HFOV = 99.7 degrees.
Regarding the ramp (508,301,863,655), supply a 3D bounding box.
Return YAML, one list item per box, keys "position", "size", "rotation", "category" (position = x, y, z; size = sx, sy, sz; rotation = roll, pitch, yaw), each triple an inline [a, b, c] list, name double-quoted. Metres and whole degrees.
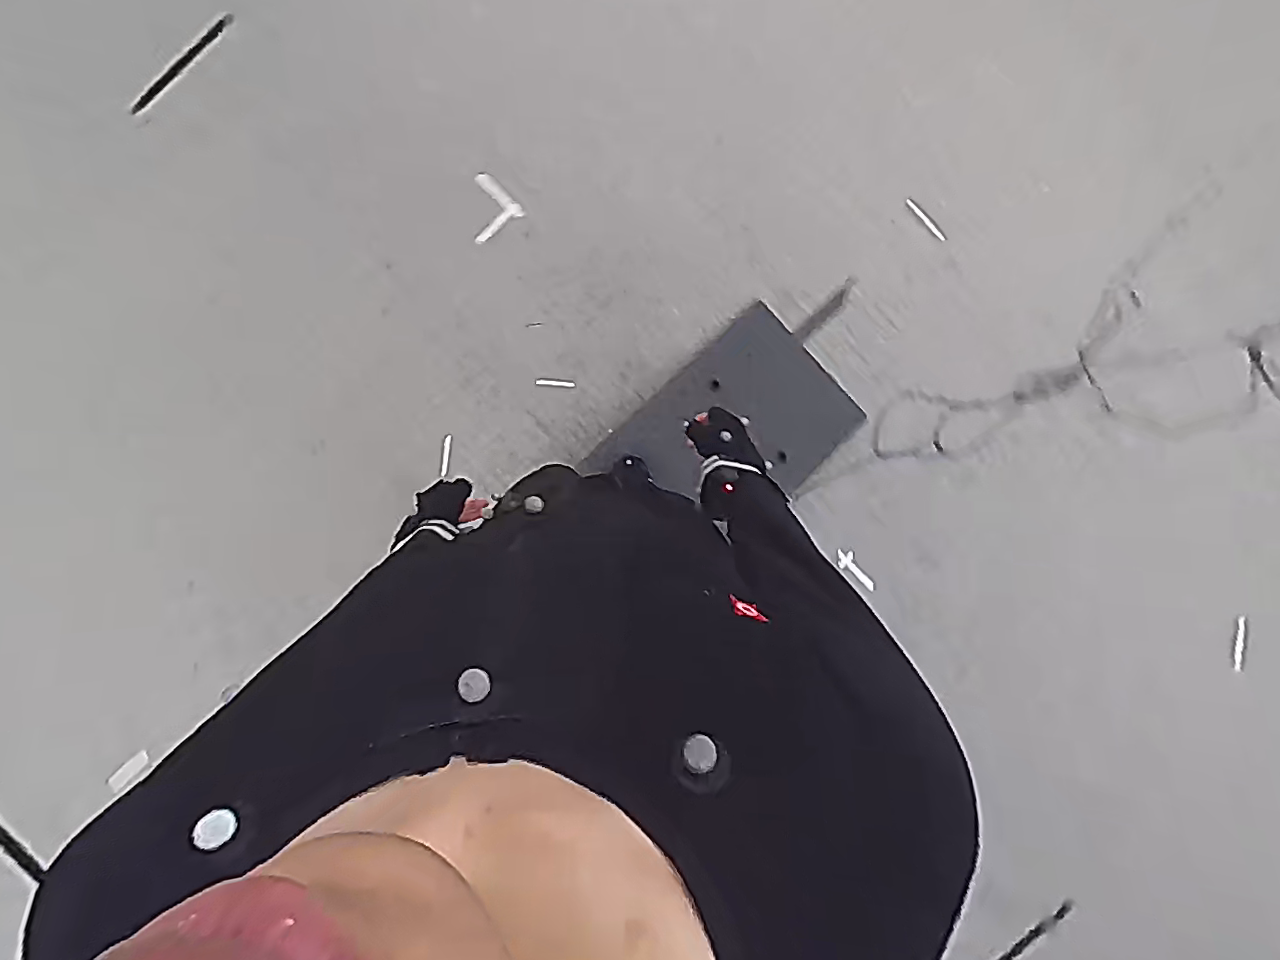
- position: [0.155, -0.036, 1.545]
  size: [0.509, 0.206, 0.991]
  rotation: [44, 90, 0]
  category: "ramp"
